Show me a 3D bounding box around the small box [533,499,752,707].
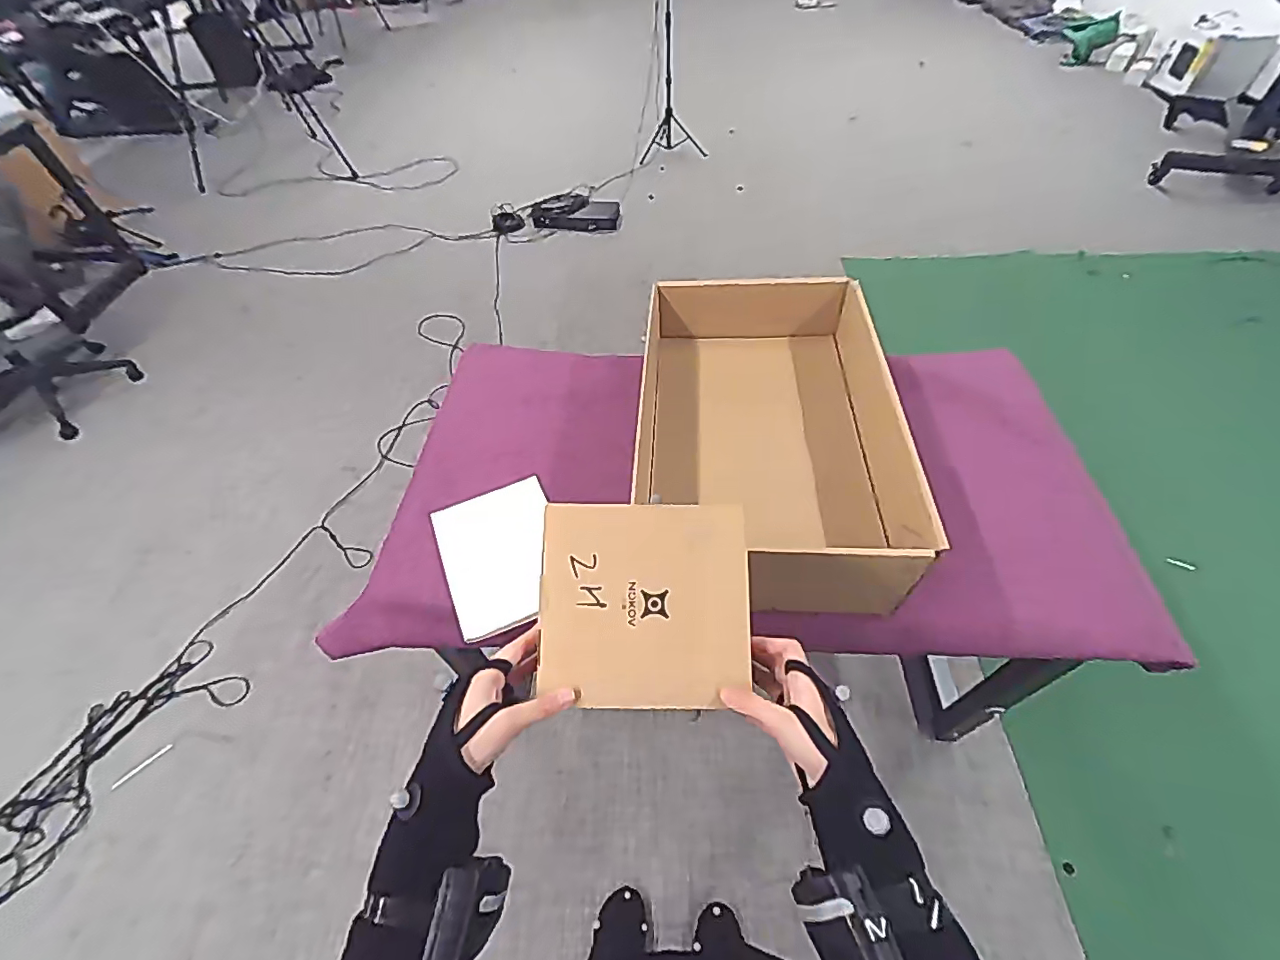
[{"bbox_3d":[0.004,0.113,0.522,0.179,0.176,0.168,1,78,1],"label":"small box"}]
